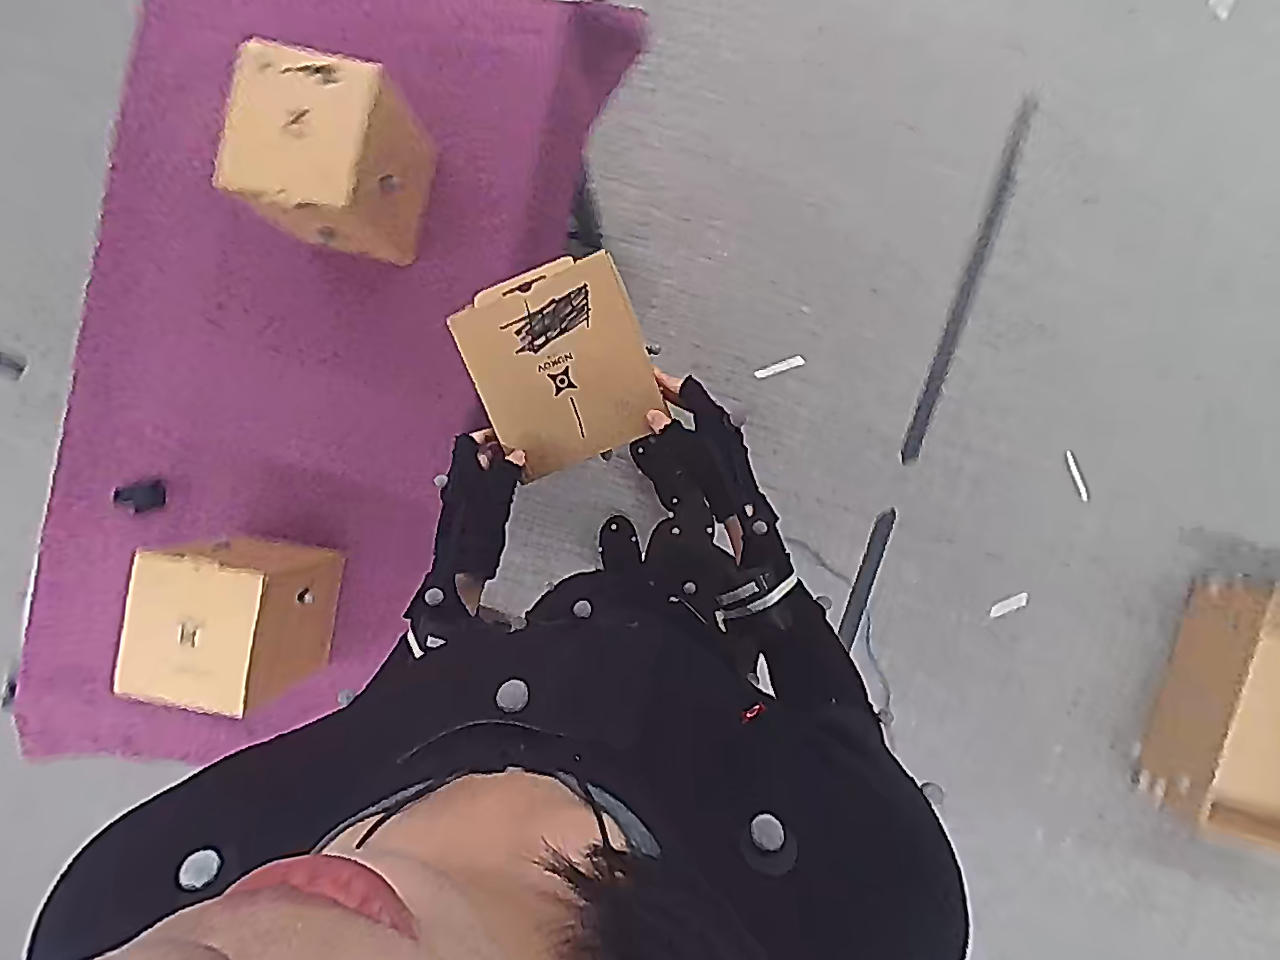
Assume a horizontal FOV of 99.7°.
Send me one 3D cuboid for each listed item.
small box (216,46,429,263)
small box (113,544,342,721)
[{"bbox_3d":[-0.401,-0.410,0.713,0.168,0.176,0.179,12,91,2],"label":"small box"},{"bbox_3d":[-0.528,0.186,0.718,0.168,0.176,0.179,9,91,3],"label":"small box"}]
